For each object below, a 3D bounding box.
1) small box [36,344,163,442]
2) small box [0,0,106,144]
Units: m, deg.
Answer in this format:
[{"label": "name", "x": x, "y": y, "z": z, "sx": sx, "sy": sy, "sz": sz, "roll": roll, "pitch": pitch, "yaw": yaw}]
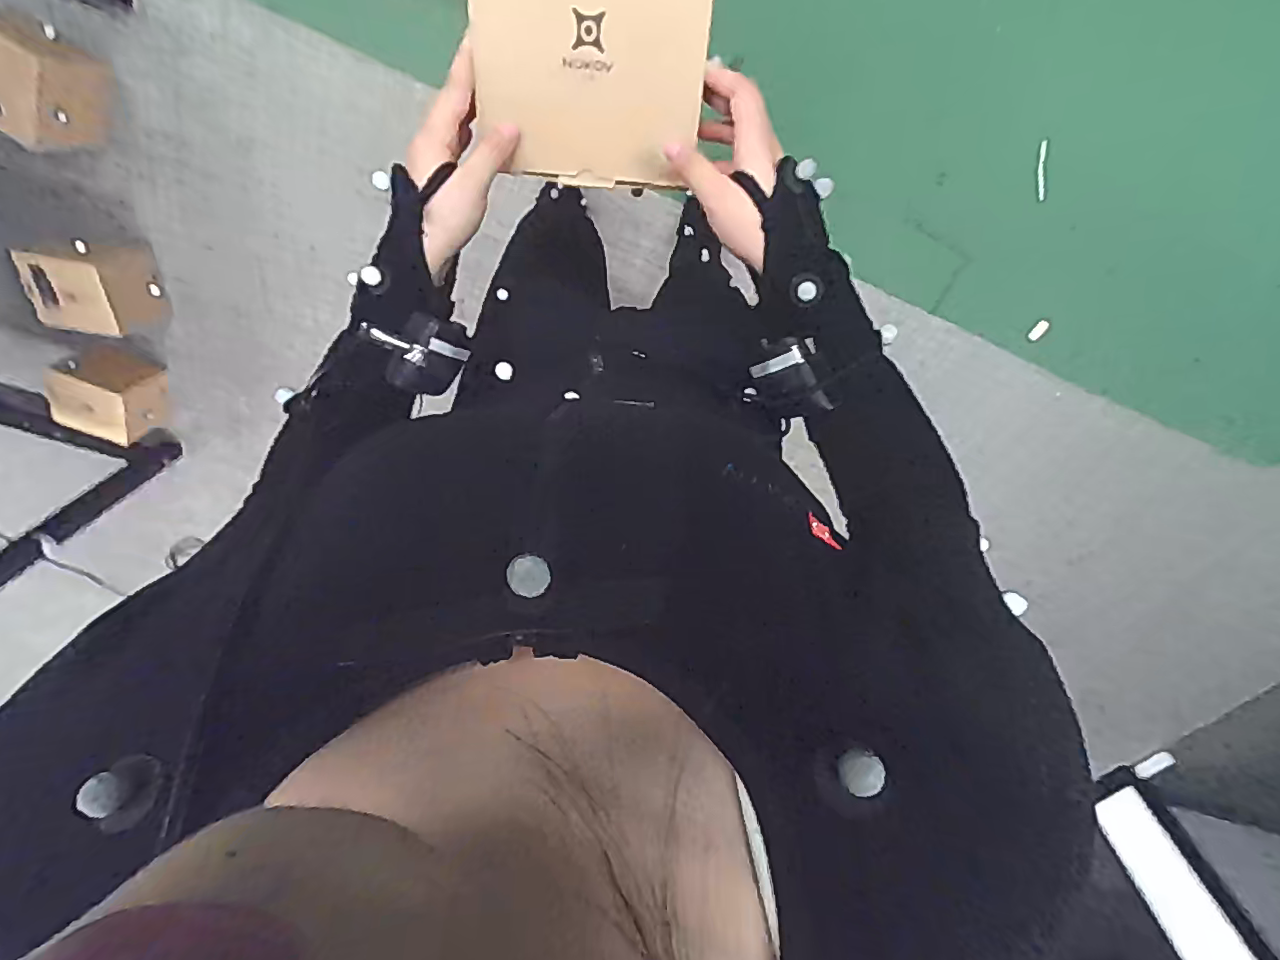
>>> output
[{"label": "small box", "x": -1.410, "y": -0.236, "z": 1.428, "sx": 0.179, "sy": 0.176, "sz": 0.168, "roll": 23, "pitch": 123, "yaw": -13}, {"label": "small box", "x": -1.191, "y": -0.784, "z": 1.040, "sx": 0.168, "sy": 0.176, "sz": 0.179, "roll": 30, "pitch": 119, "yaw": -18}]
